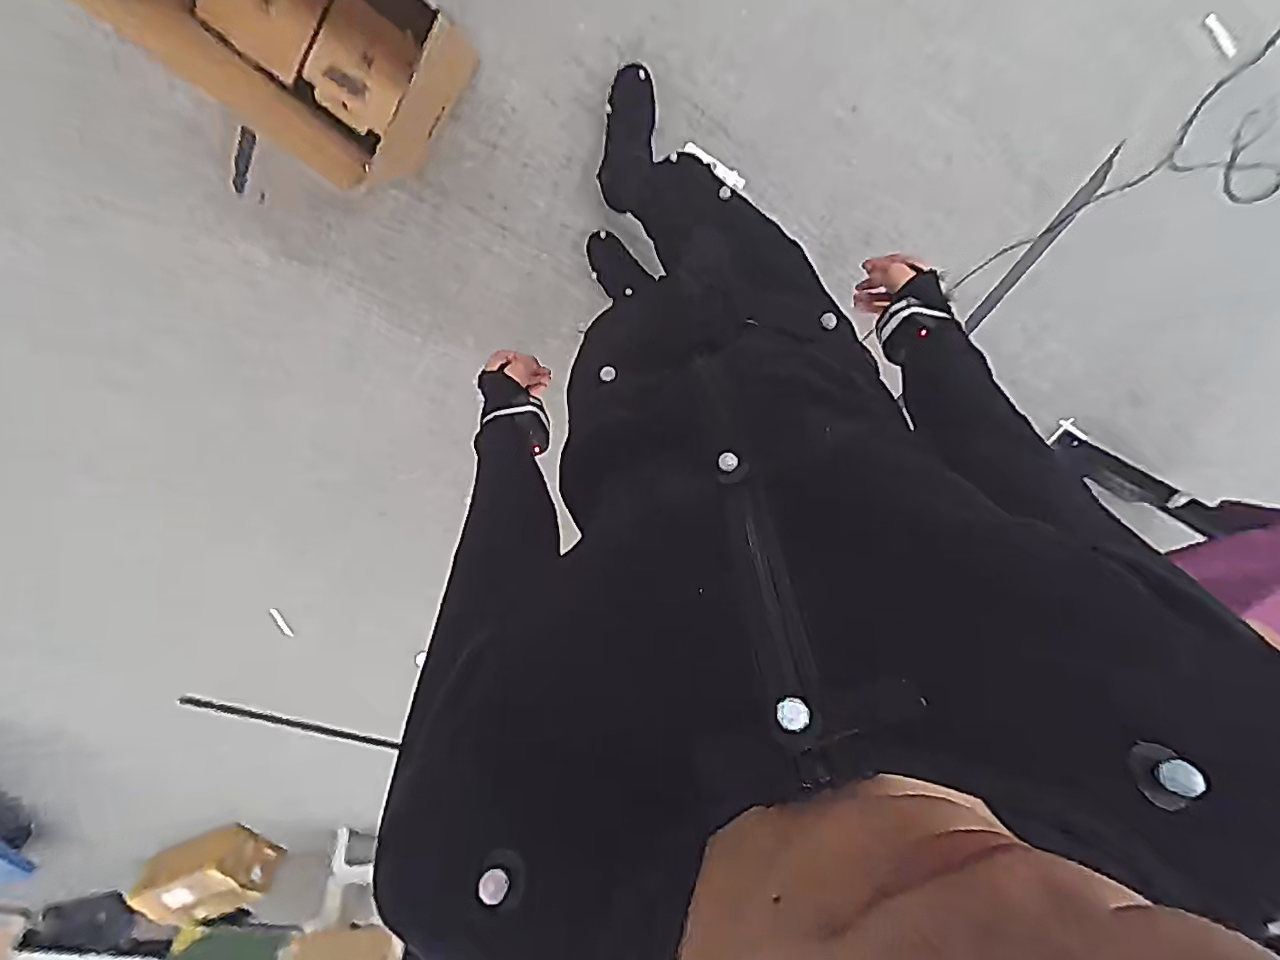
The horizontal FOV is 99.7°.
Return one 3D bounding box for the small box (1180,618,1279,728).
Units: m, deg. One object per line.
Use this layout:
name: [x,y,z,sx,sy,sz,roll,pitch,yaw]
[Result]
small box: [1.521,0.473,1.336,0.168,0.176,0.179,24,114,-21]
